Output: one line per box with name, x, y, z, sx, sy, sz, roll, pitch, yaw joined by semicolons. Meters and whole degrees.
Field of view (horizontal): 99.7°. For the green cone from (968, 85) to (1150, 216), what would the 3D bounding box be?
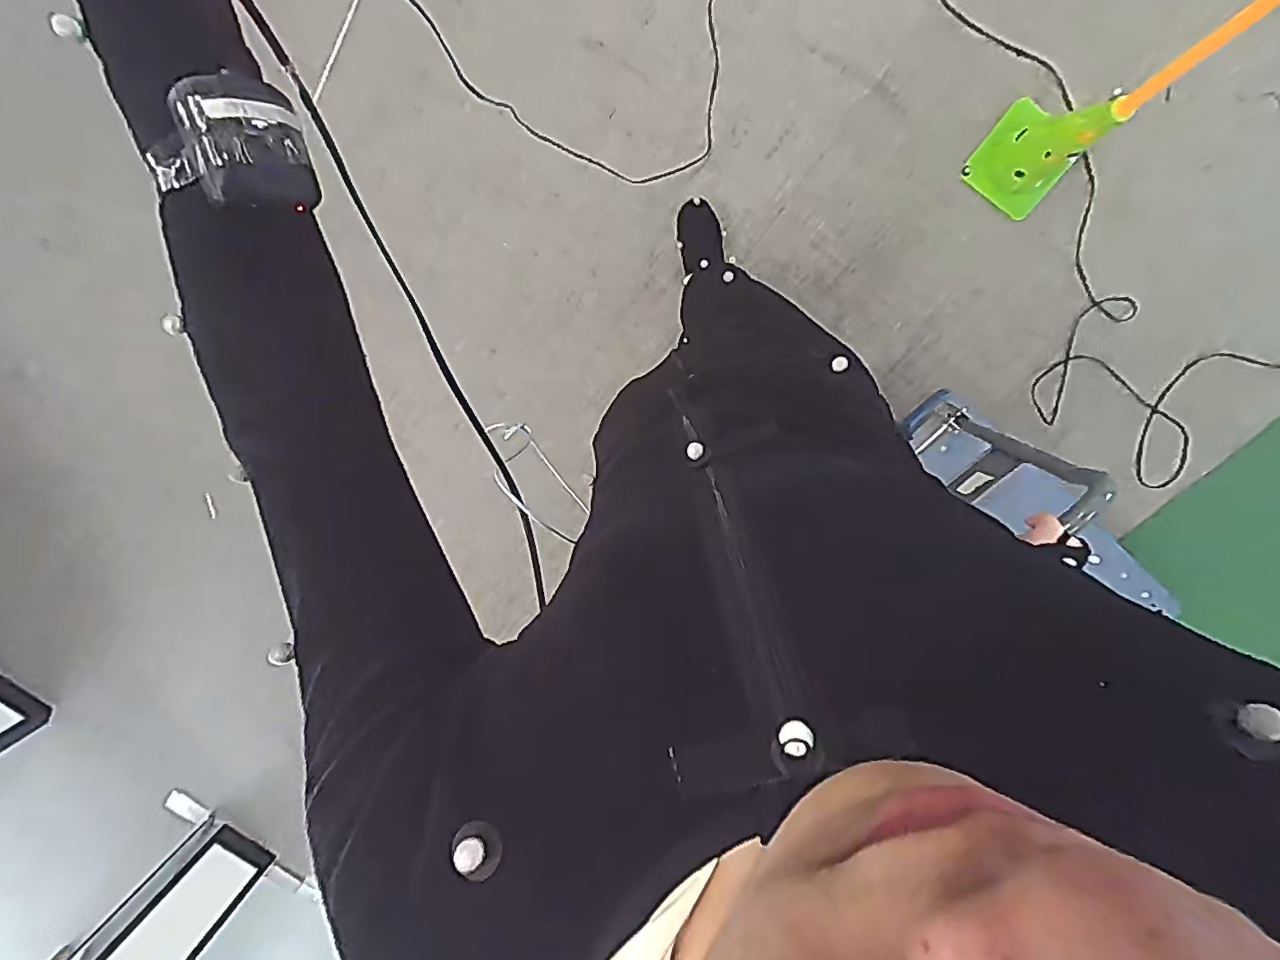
green cone;0.886;-0.708;1.105;0.200;0.368;0.202;35;108;-3
